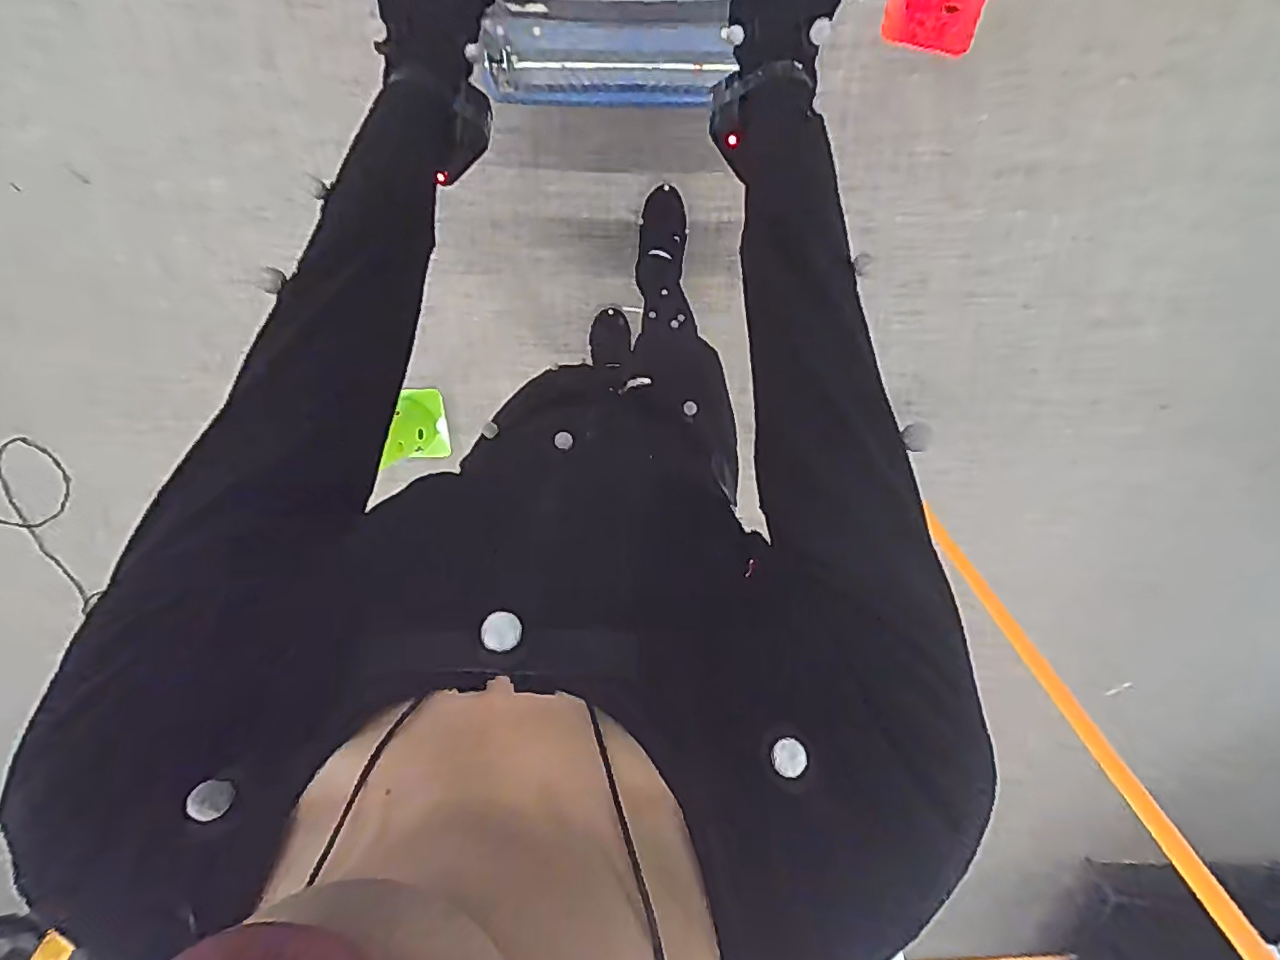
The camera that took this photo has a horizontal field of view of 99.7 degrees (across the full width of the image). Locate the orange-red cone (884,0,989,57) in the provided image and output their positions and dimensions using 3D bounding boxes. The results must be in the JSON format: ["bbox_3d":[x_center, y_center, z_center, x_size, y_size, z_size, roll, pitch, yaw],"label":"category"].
[{"bbox_3d":[0.619,-0.931,0.952,0.198,0.360,0.199,11,115,-4],"label":"orange-red cone"}]
